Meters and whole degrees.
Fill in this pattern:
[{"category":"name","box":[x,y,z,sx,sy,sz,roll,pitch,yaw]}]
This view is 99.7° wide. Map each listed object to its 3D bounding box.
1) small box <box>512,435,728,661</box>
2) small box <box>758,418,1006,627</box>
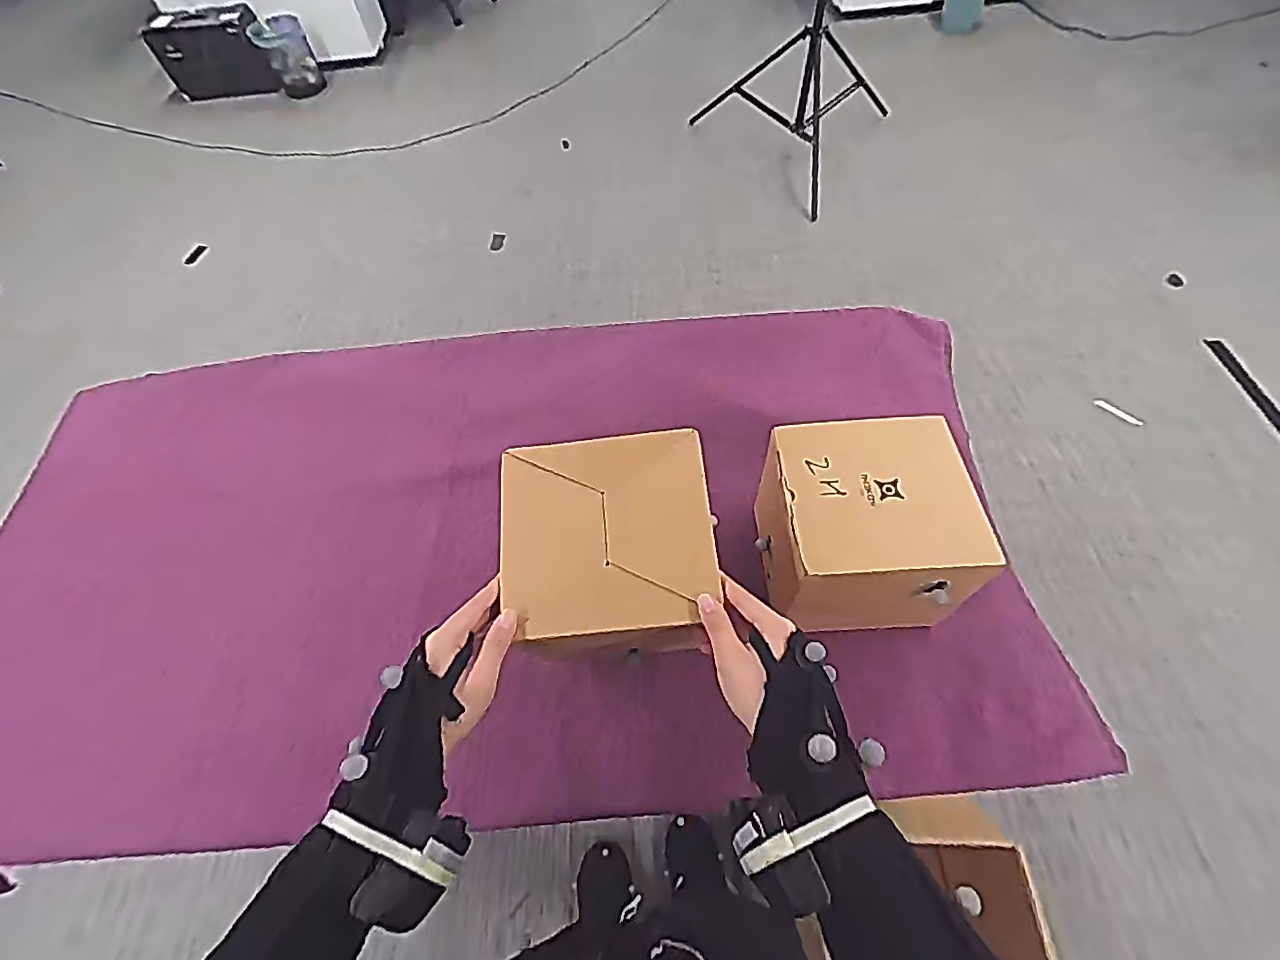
[{"category":"small box","box":[-0.020,0.070,0.520,0.179,0.176,0.168,-7,65,1]},{"category":"small box","box":[0.234,0.052,0.579,0.179,0.176,0.168,-3,57,2]}]
